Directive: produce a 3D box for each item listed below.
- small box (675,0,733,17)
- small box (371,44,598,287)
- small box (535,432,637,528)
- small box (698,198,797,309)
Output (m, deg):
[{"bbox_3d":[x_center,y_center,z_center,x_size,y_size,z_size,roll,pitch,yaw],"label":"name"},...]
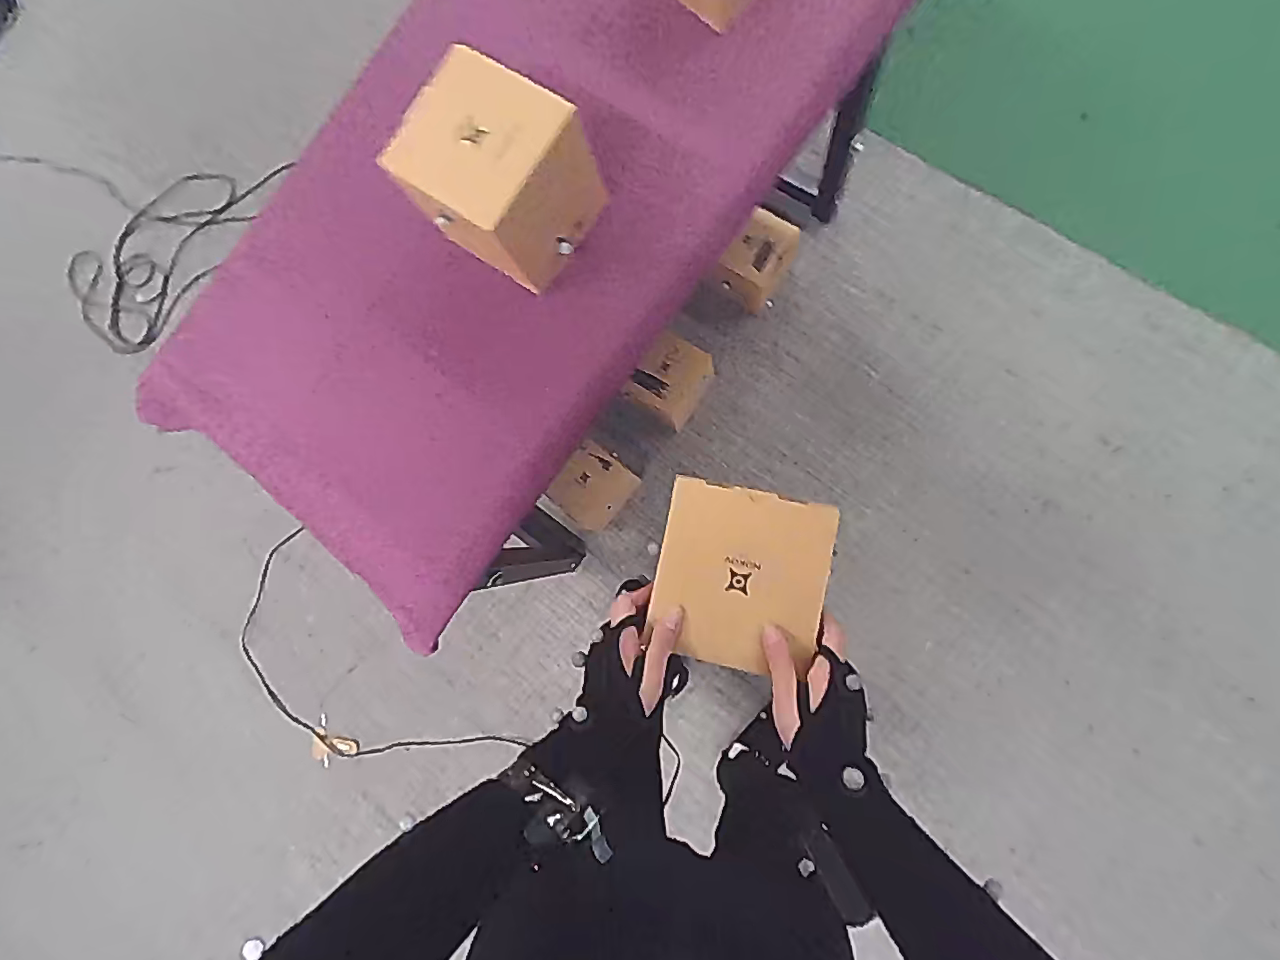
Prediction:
[{"bbox_3d":[0.084,-0.734,0.665,0.168,0.176,0.179,-44,78,3],"label":"small box"},{"bbox_3d":[-0.179,-0.374,0.675,0.179,0.176,0.168,35,91,12],"label":"small box"},{"bbox_3d":[-0.127,0.008,1.362,0.168,0.176,0.179,40,92,12],"label":"small box"},{"bbox_3d":[0.267,-0.555,1.353,0.179,0.176,0.168,34,90,13],"label":"small box"}]
